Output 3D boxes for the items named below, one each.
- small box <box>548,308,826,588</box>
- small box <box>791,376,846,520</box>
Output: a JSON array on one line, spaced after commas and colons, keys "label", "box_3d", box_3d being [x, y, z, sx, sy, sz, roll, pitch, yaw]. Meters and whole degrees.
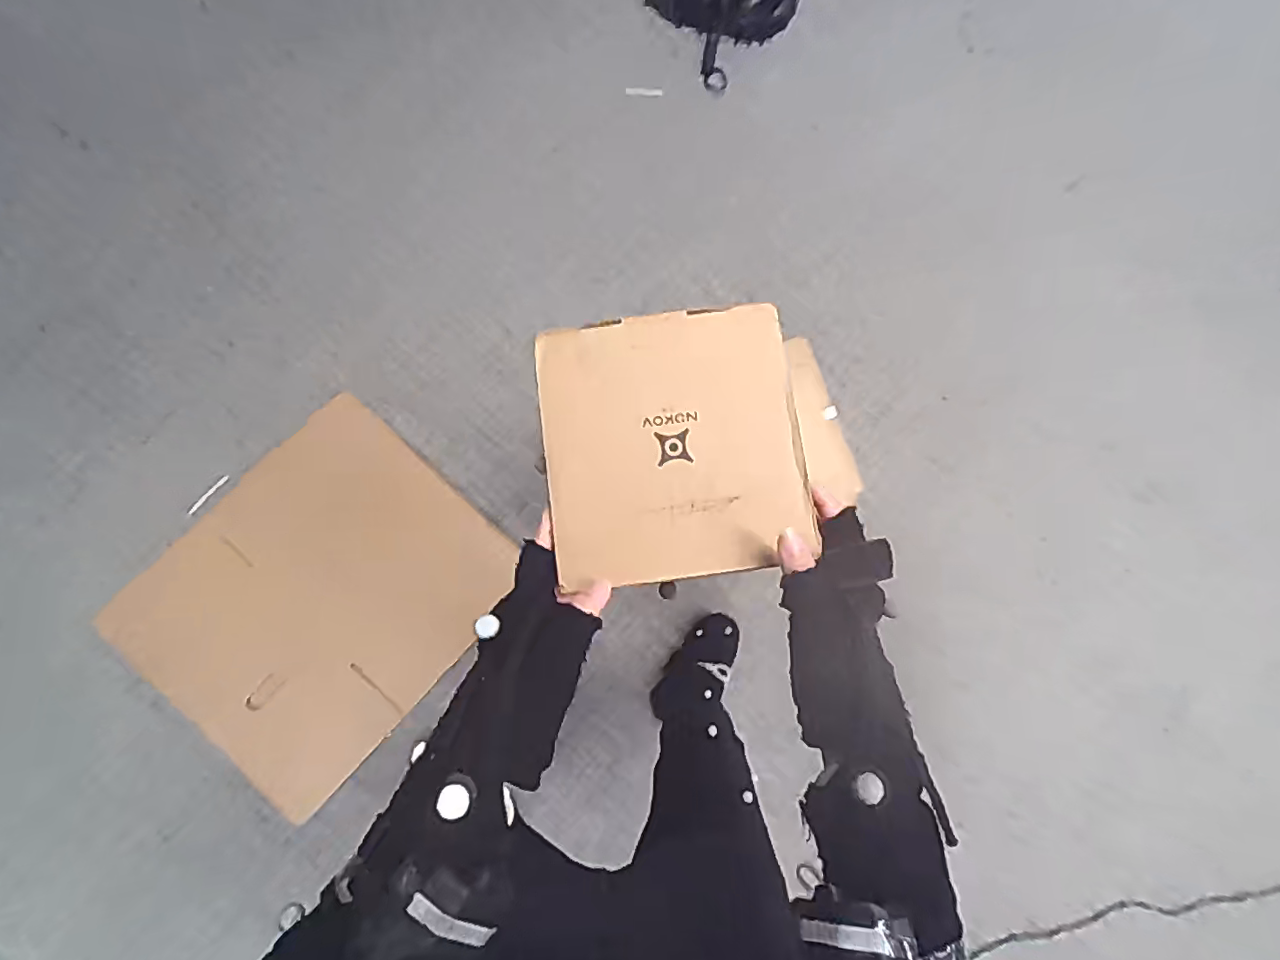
[{"label": "small box", "box_3d": [0.029, -0.011, 0.440, 0.168, 0.176, 0.179, -9, 81, 0]}, {"label": "small box", "box_3d": [0.132, -0.011, 0.709, 0.168, 0.176, 0.179, -21, 85, -6]}]
